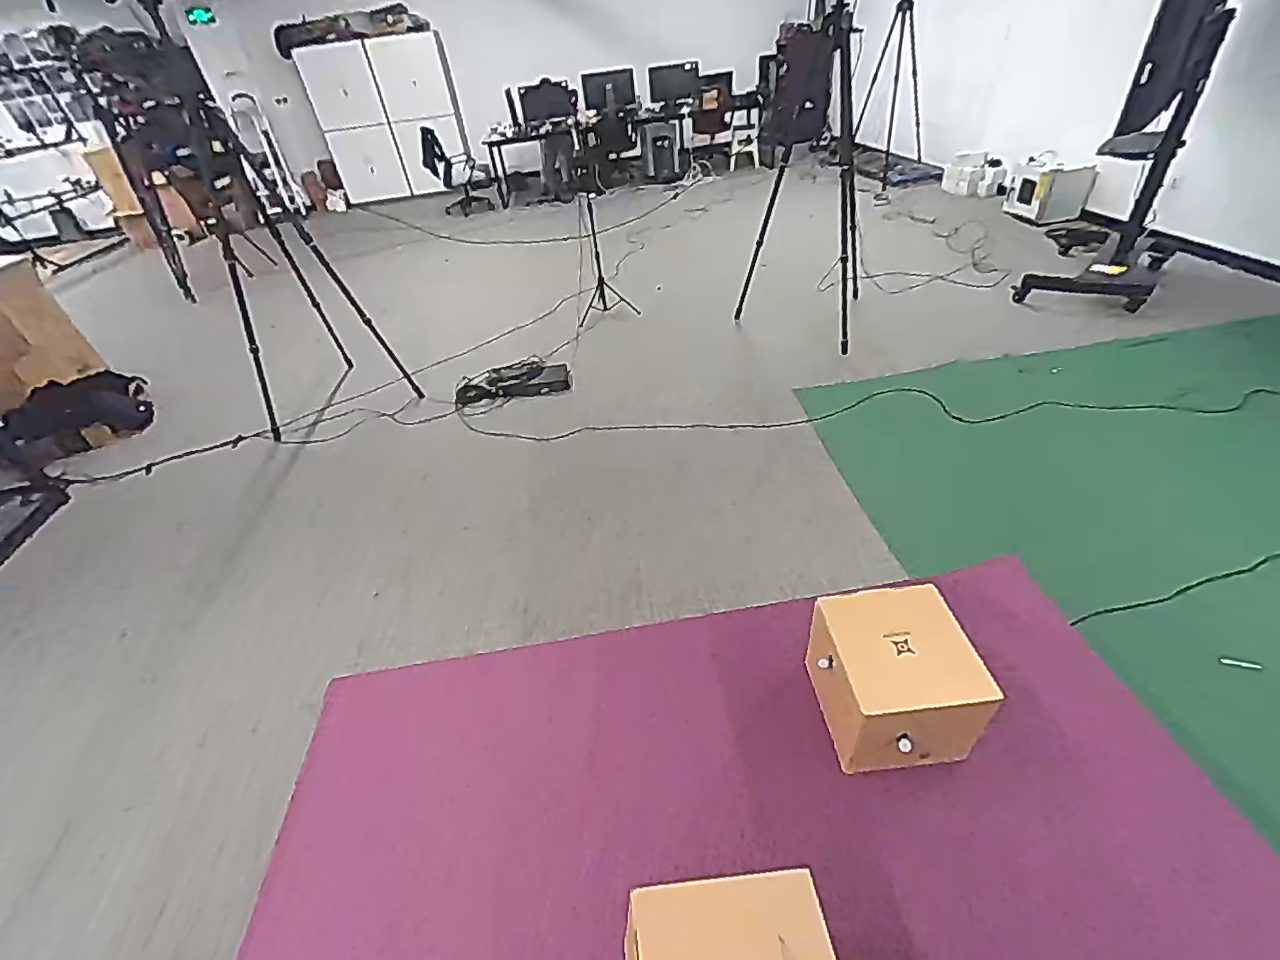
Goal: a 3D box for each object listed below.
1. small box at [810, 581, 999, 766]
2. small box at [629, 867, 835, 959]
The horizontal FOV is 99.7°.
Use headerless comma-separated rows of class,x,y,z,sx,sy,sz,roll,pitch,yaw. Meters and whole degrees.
small box,0.342,0.268,0.739,0.168,0.176,0.179,-8,38,2
small box,0.082,0.489,0.498,0.179,0.176,0.168,-2,38,-6
